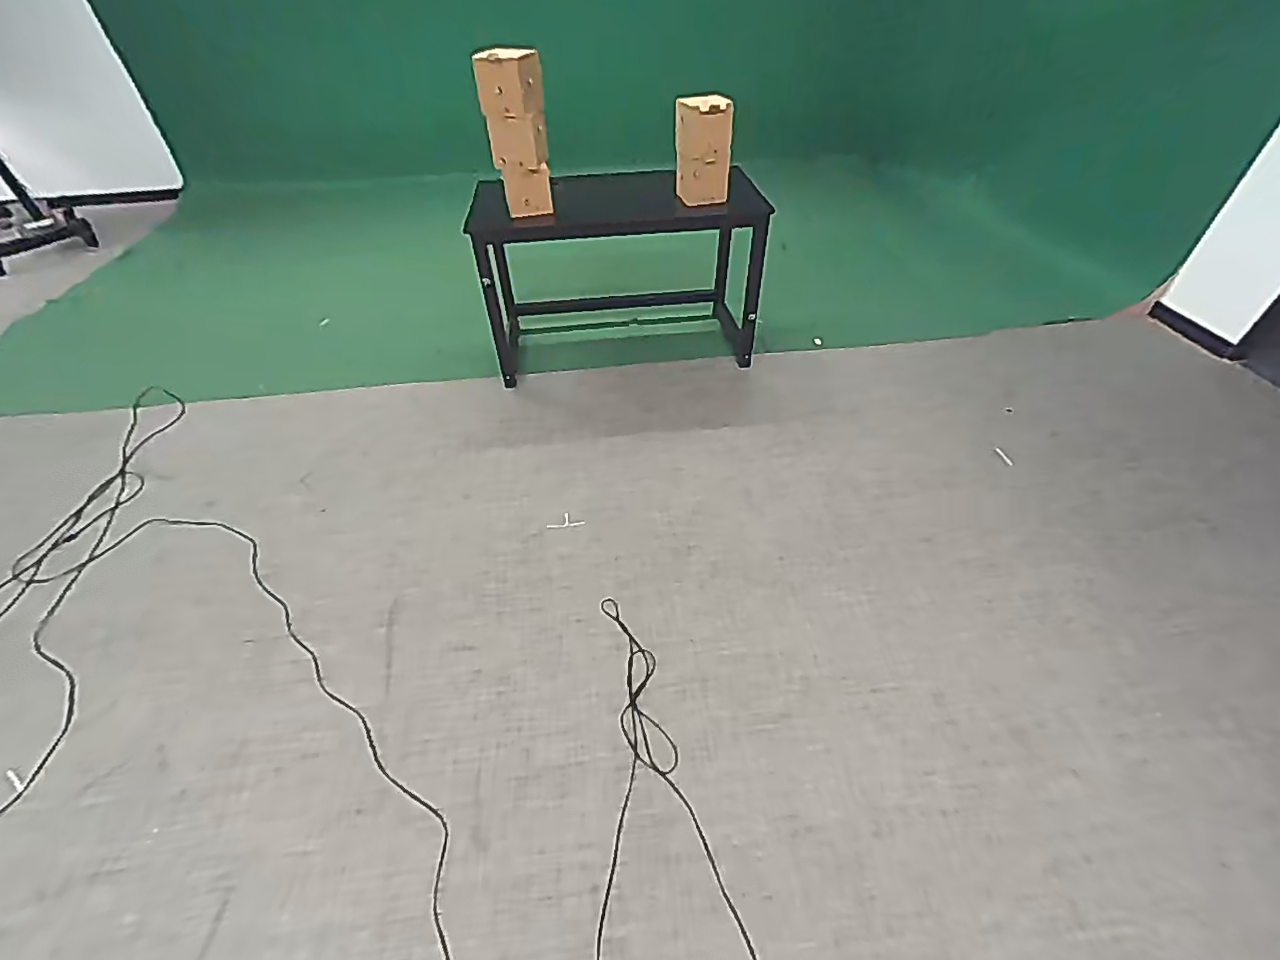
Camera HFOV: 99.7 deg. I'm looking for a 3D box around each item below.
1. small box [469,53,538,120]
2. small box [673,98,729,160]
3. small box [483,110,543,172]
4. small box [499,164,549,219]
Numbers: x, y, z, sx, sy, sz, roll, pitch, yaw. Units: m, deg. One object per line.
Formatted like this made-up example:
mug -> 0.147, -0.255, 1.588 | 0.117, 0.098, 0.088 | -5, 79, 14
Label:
small box -> -0.471, -1.384, 1.902 | 0.168, 0.176, 0.179 | 12, 48, 12
small box -> 0.226, -1.336, 2.060 | 0.168, 0.176, 0.179 | -12, 45, -9
small box -> -0.465, -1.262, 2.014 | 0.168, 0.176, 0.179 | 4, 45, 5
small box -> -0.458, -1.146, 2.129 | 0.168, 0.176, 0.179 | -11, 46, -10
